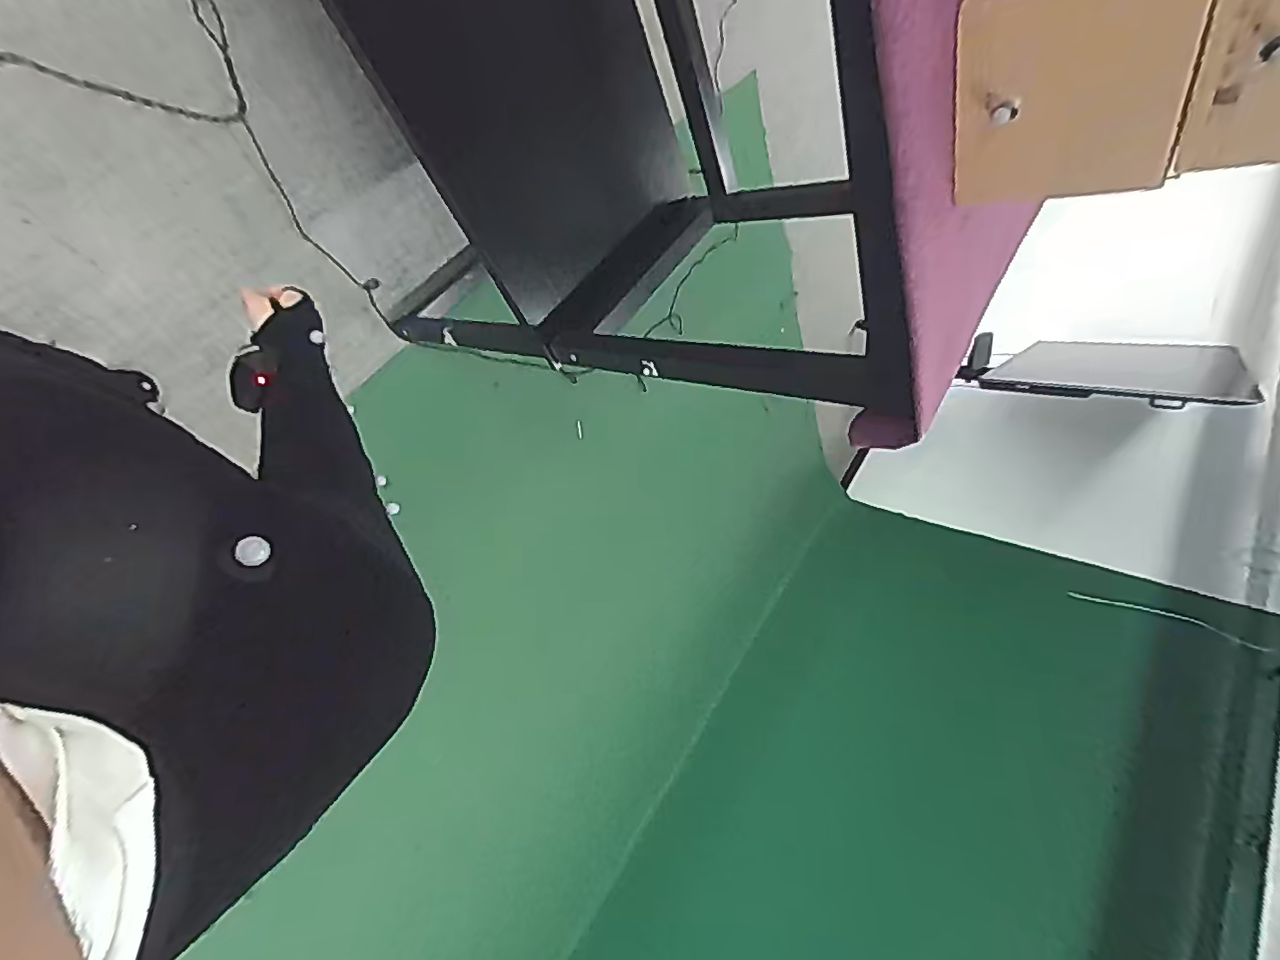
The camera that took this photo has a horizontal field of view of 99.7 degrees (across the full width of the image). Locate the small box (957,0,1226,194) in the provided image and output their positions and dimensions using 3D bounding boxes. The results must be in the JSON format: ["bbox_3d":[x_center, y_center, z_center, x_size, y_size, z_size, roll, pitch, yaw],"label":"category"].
[{"bbox_3d":[0.402,-0.383,0.491,0.168,0.176,0.179,-54,137,-24],"label":"small box"}]
